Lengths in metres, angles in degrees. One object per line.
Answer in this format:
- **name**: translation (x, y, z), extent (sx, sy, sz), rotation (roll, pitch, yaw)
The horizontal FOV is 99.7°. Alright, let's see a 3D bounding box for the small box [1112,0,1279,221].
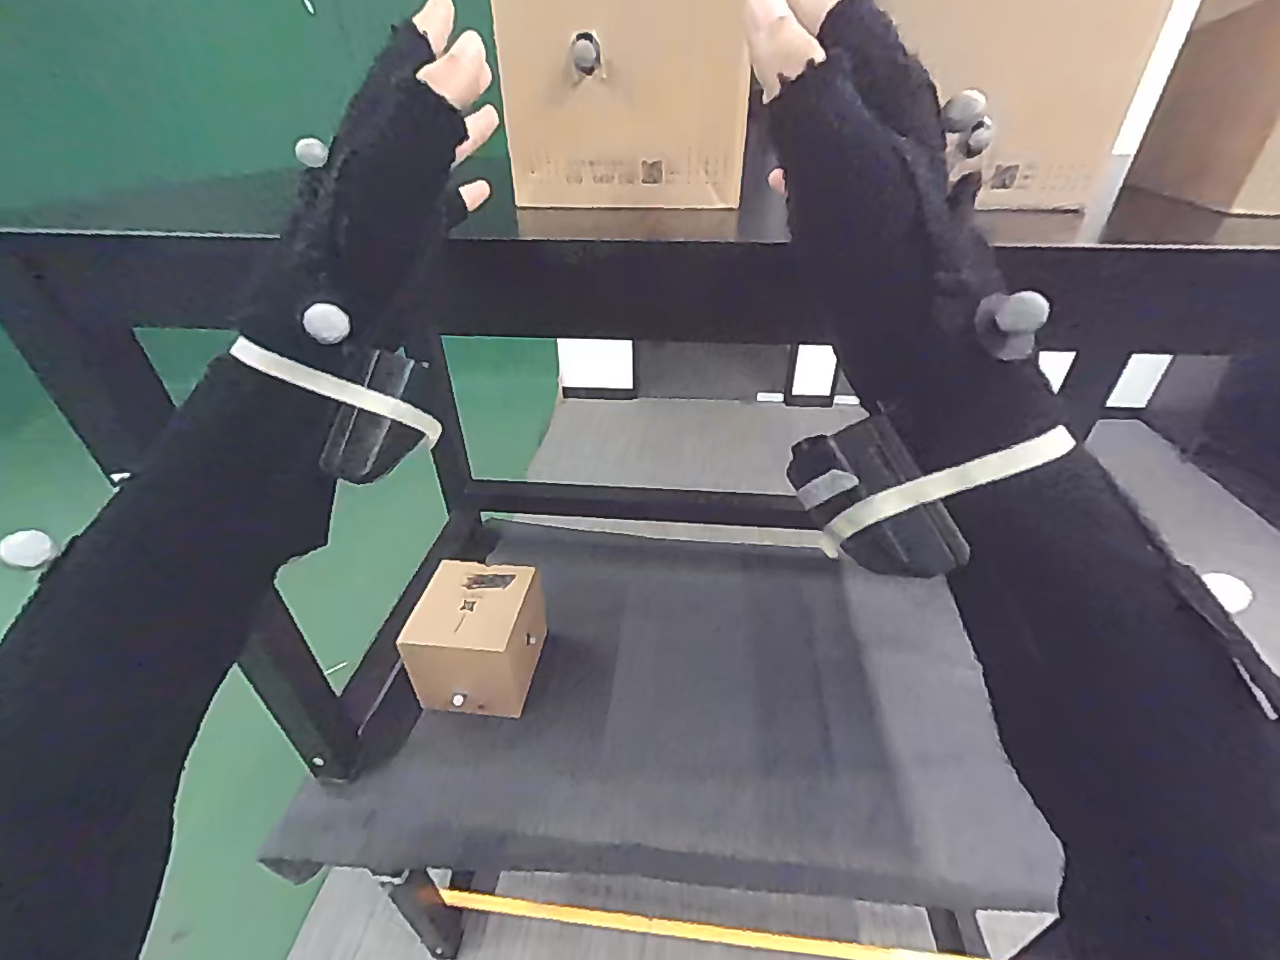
- **small box**: translation (0.477, -0.271, 0.362), extent (0.168, 0.176, 0.179), rotation (10, 35, 15)

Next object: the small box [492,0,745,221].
- **small box**: translation (-0.004, -0.311, 0.436), extent (0.168, 0.176, 0.179), rotation (3, 34, 6)

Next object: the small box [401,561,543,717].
- **small box**: translation (-0.263, 0.258, 0.894), extent (0.168, 0.176, 0.179), rotation (3, 35, 5)
